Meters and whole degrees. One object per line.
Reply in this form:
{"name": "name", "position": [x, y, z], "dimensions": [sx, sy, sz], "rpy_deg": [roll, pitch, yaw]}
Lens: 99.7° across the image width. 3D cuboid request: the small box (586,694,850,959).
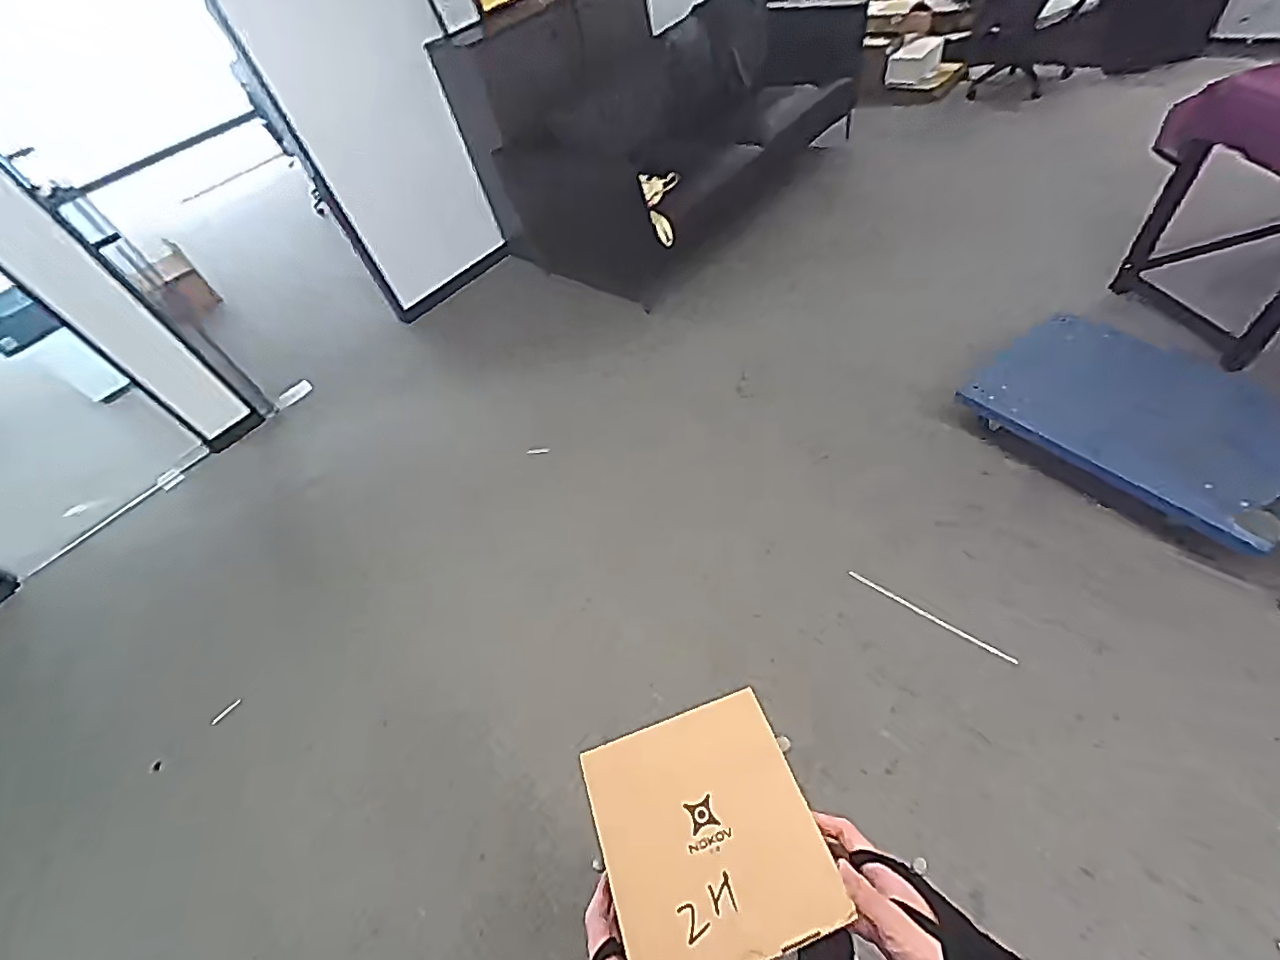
{"name": "small box", "position": [0.059, 0.331, 0.493], "dimensions": [0.168, 0.176, 0.179], "rpy_deg": [-17, 49, -6]}
